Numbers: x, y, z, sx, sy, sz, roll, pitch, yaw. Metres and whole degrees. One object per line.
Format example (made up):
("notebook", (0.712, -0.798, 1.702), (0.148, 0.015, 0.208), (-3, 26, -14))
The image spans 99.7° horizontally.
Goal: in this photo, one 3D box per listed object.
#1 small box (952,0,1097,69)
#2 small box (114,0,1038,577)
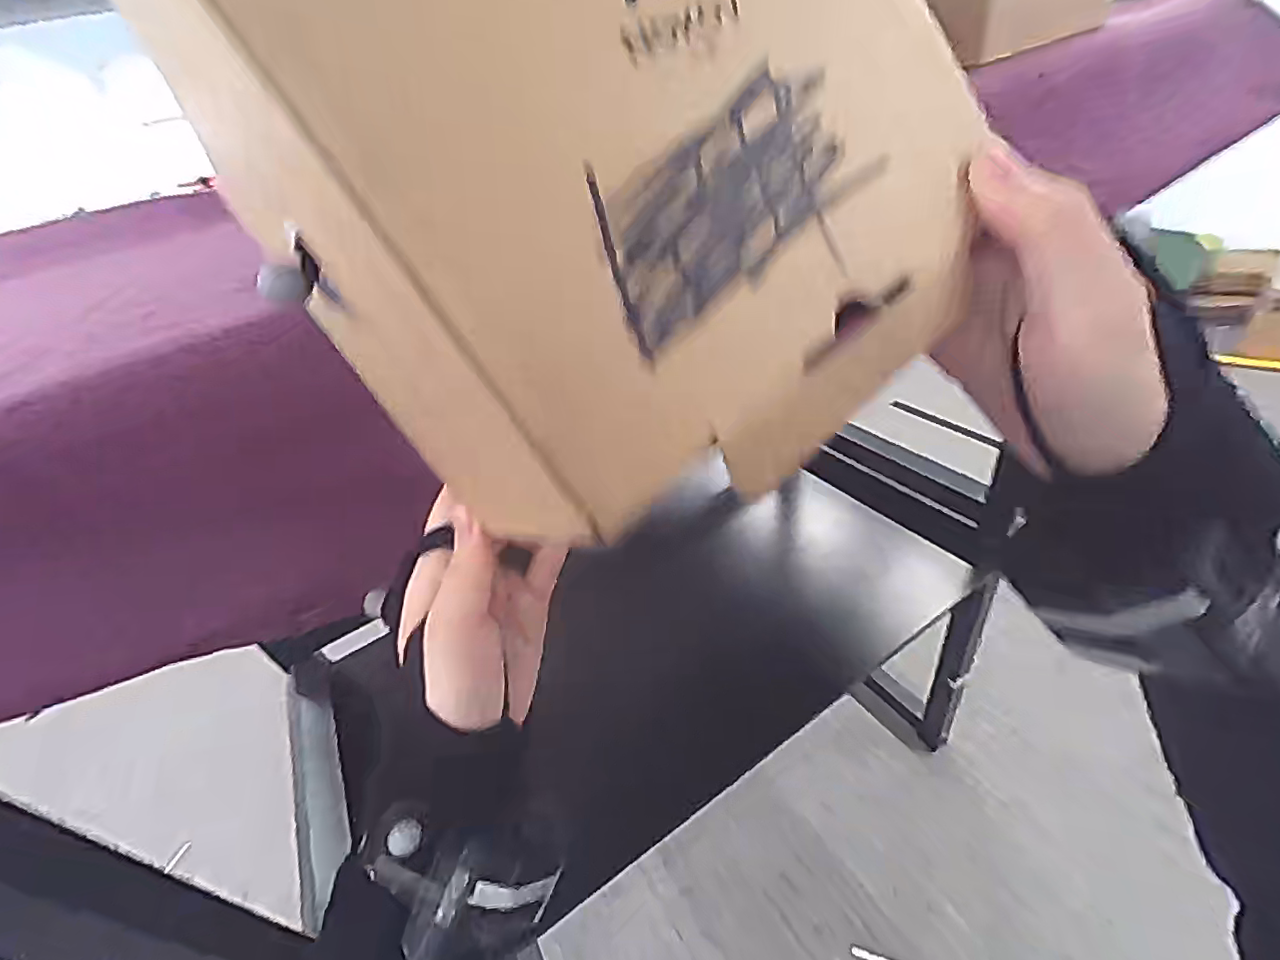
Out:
("small box", (0.294, -0.476, 0.481), (0.179, 0.176, 0.168), (-28, 39, -17))
("small box", (-0.024, -0.092, 0.184), (0.168, 0.179, 0.176), (-39, 11, -22))
